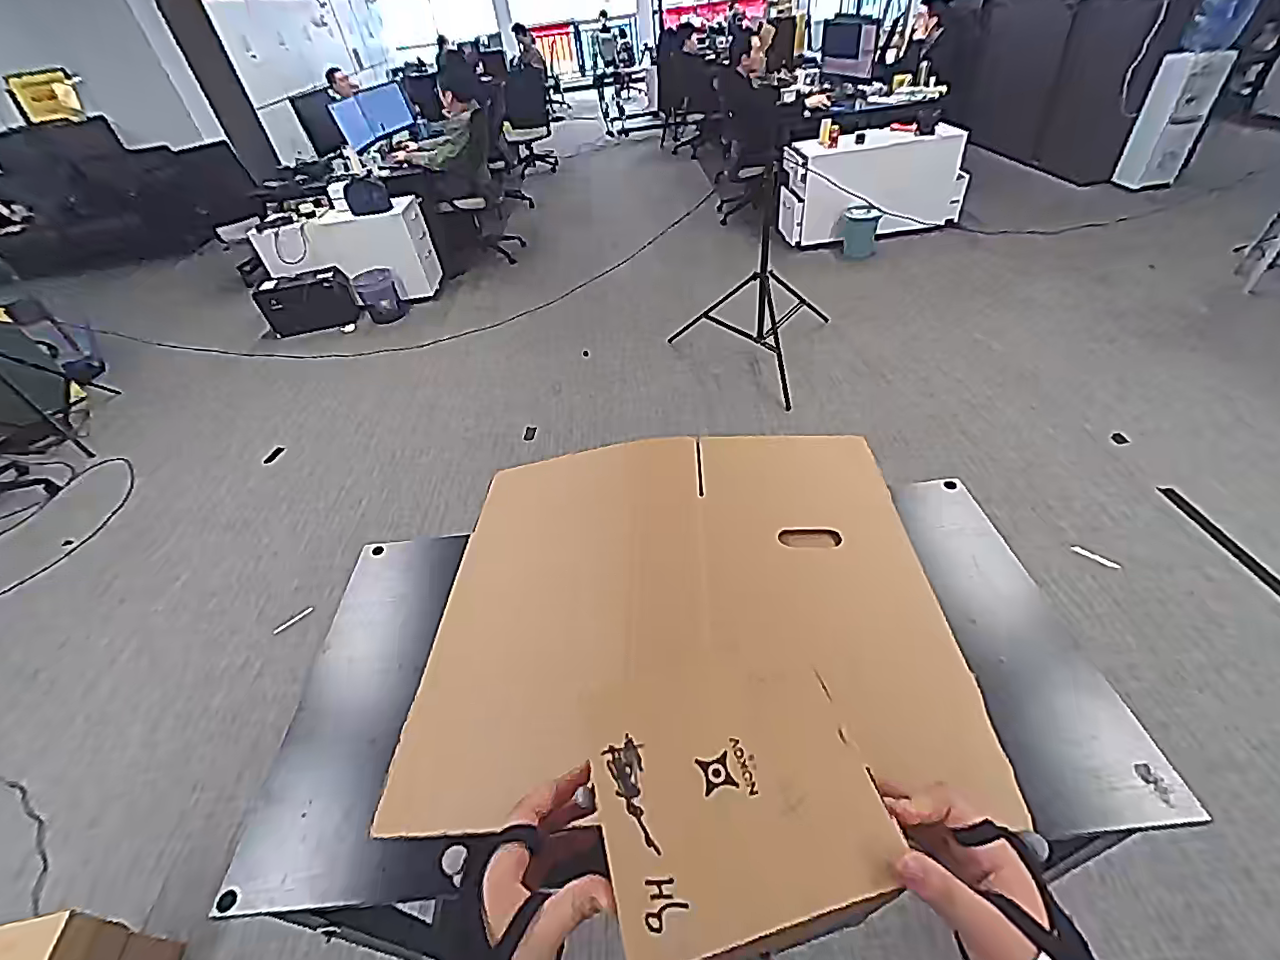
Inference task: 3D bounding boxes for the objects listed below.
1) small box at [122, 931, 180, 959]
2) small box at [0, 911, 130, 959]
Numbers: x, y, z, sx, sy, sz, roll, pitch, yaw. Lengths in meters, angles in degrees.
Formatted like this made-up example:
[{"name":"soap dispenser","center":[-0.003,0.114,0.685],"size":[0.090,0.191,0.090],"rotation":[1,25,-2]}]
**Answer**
[{"name":"small box","center":[-1.128,1.085,1.133],"size":[0.168,0.176,0.179],"rotation":[-10,43,-1]},{"name":"small box","center":[-1.146,0.961,1.029],"size":[0.168,0.176,0.179],"rotation":[-11,41,-4]}]
